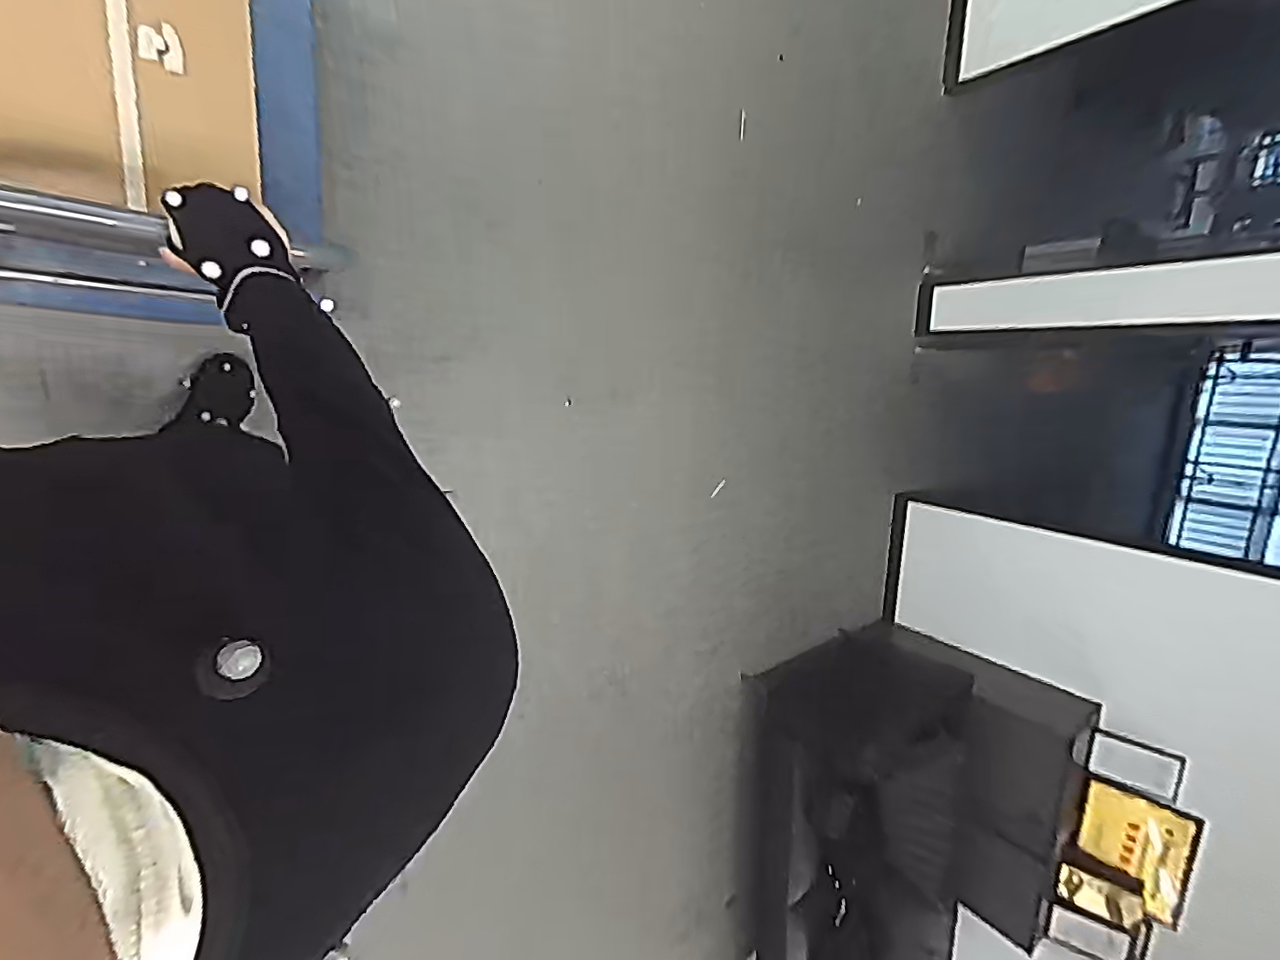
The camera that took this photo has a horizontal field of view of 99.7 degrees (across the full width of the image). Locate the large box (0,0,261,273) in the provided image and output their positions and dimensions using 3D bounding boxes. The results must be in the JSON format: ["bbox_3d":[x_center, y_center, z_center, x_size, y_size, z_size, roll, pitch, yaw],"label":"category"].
[{"bbox_3d":[-0.838,-0.592,0.900,0.320,0.320,0.408,-4,102,-36],"label":"large box"}]
